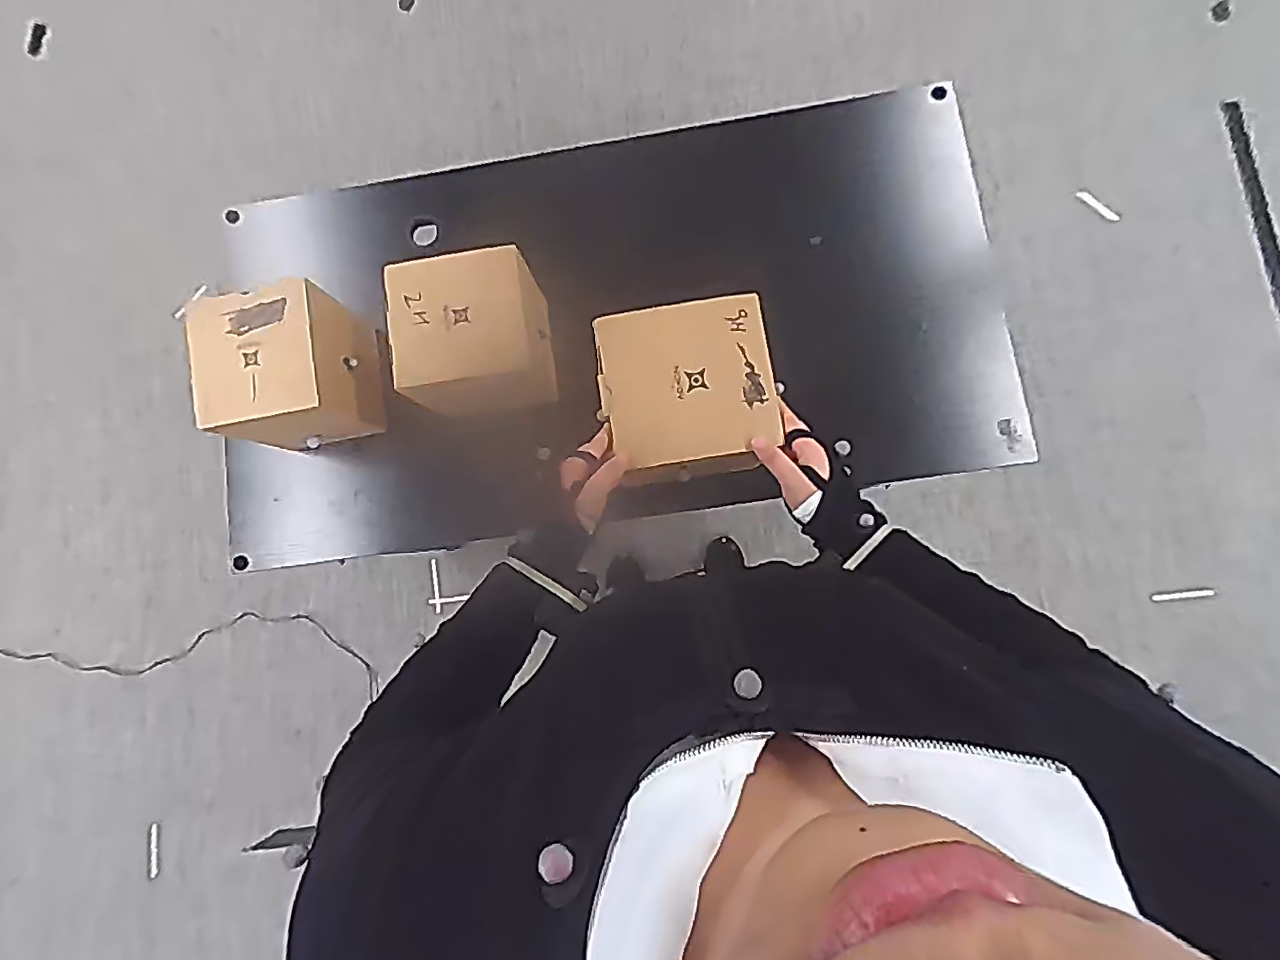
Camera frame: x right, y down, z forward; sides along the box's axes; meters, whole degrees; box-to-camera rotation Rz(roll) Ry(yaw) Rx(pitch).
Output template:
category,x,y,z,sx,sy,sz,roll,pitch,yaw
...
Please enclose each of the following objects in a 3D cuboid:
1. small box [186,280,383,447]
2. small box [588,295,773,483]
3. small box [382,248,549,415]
category,x,y,z,sx,sy,sz,roll,pitch,yaw
small box,-0.496,-0.156,0.775,0.168,0.176,0.179,-10,84,2
small box,0.044,-0.094,0.641,0.179,0.176,0.168,-8,83,1
small box,-0.232,-0.197,0.763,0.179,0.176,0.168,-8,83,3
